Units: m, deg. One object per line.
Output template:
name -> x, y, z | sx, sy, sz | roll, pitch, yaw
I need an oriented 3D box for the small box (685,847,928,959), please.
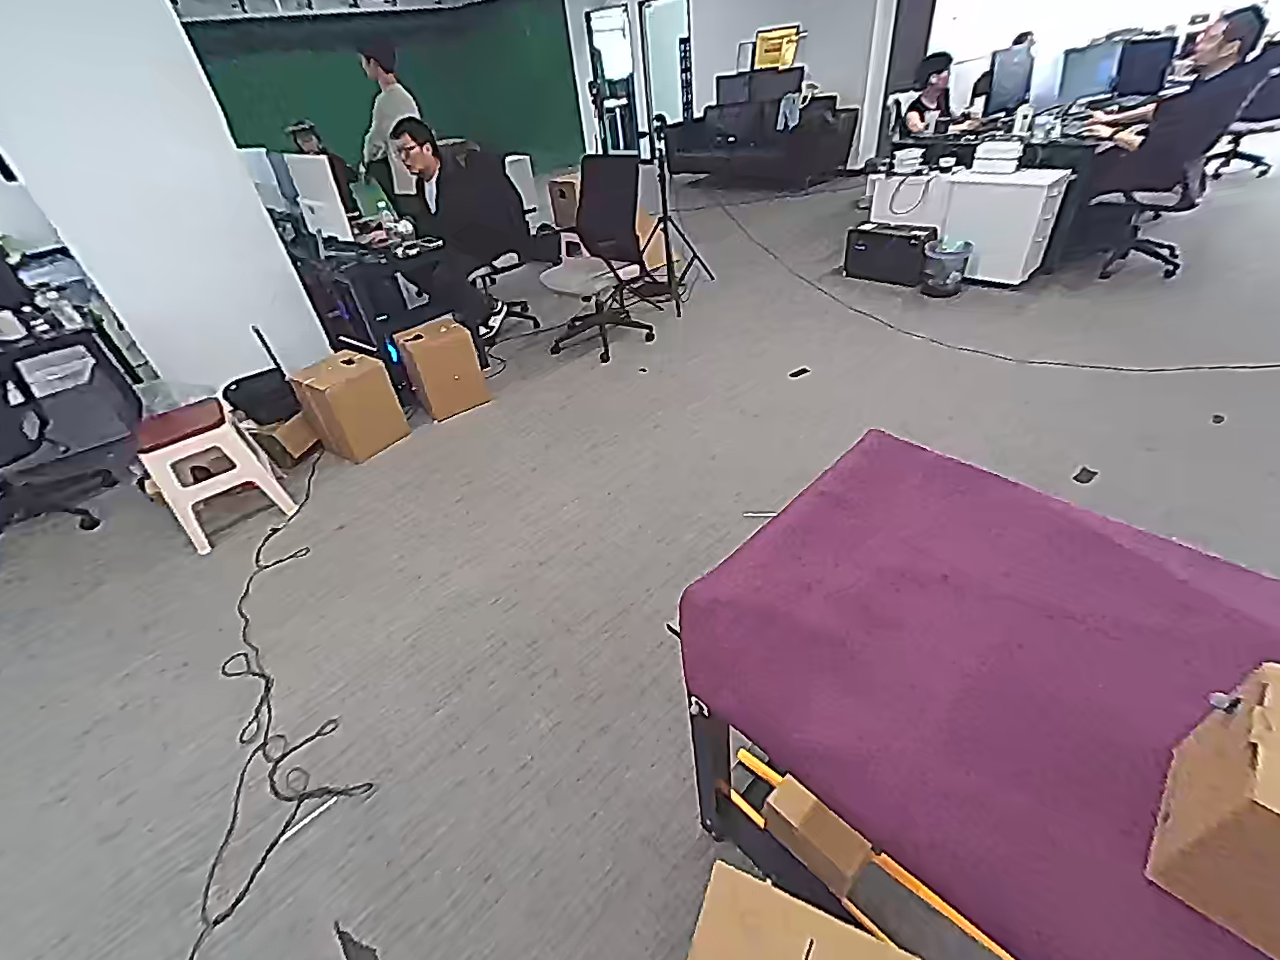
small box -> 0.108, 0.442, 0.421 | 0.168, 0.176, 0.179 | 15, 41, 19
